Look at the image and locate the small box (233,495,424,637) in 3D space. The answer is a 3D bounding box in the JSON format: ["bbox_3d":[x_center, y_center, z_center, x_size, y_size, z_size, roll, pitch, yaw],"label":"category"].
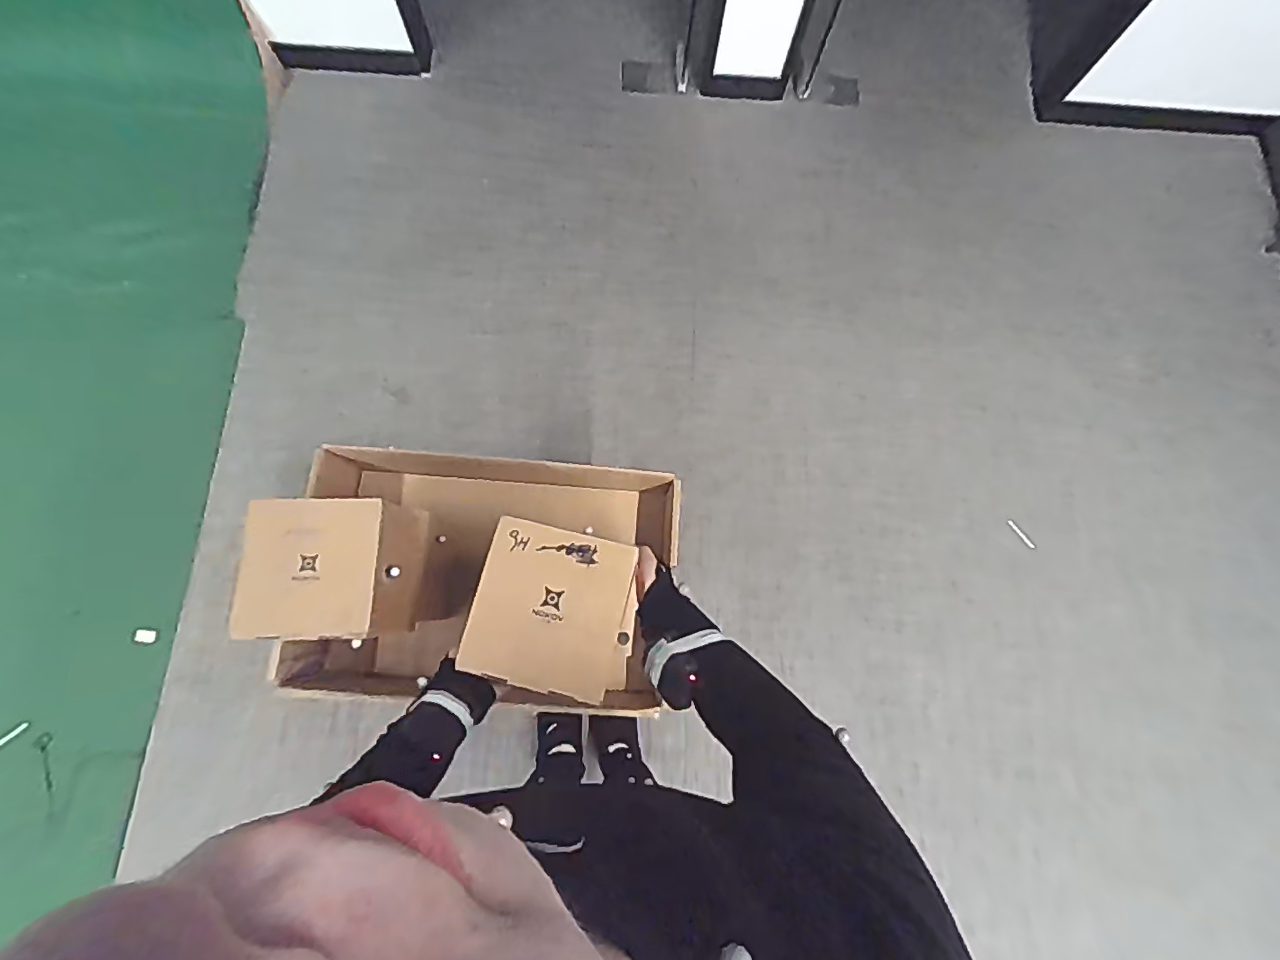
[{"bbox_3d":[-0.415,0.122,0.753,0.168,0.176,0.179,1,77,-3],"label":"small box"}]
